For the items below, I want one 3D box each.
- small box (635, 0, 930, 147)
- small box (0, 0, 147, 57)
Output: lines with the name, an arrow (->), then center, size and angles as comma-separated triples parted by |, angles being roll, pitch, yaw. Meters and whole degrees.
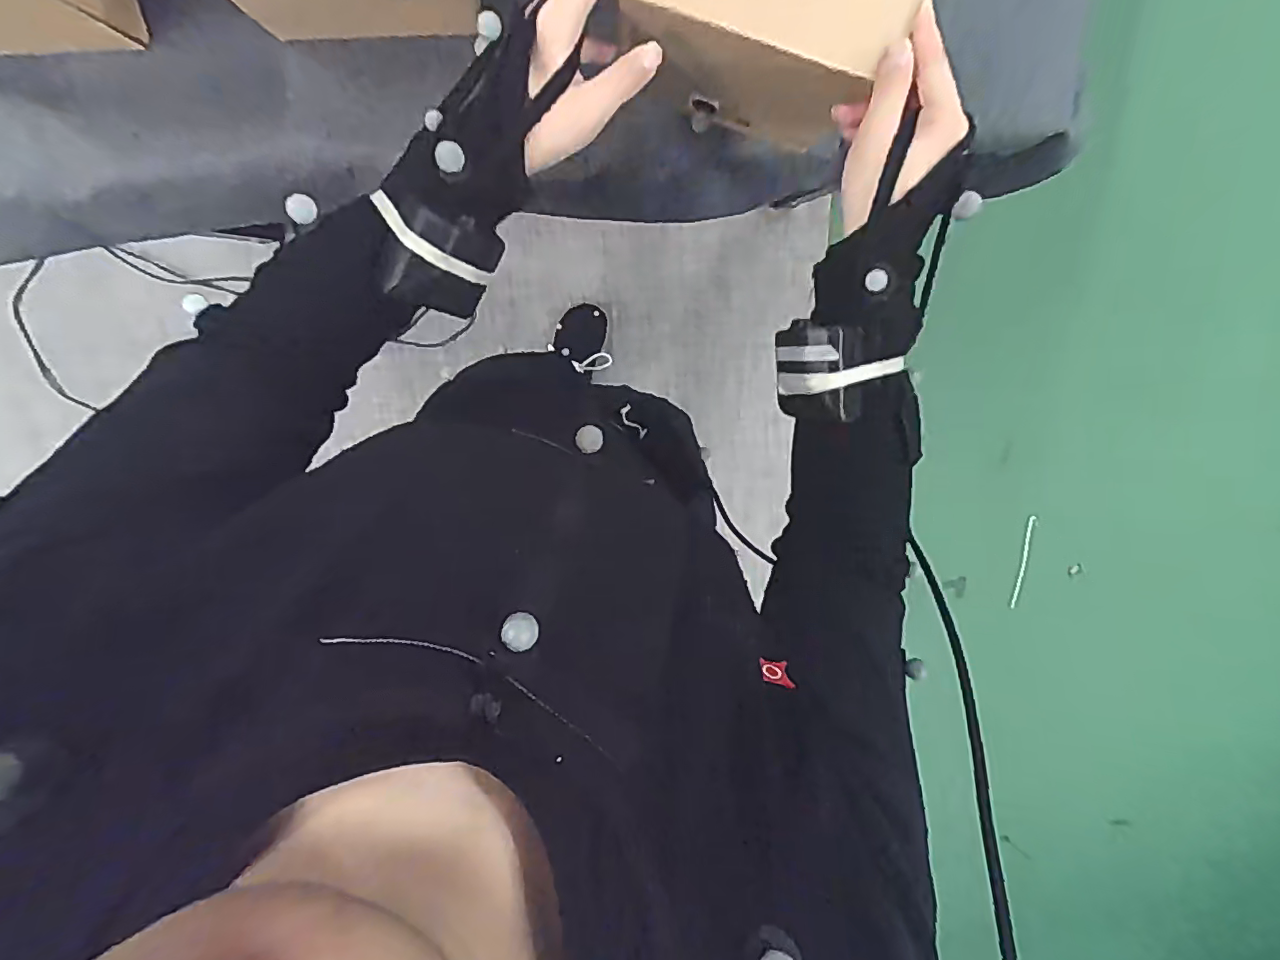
small box -> 0.093, -0.354, 0.356 | 0.168, 0.176, 0.179 | 14, 109, -6
small box -> -0.496, -0.405, 0.351 | 0.179, 0.176, 0.168 | -6, 110, -4
